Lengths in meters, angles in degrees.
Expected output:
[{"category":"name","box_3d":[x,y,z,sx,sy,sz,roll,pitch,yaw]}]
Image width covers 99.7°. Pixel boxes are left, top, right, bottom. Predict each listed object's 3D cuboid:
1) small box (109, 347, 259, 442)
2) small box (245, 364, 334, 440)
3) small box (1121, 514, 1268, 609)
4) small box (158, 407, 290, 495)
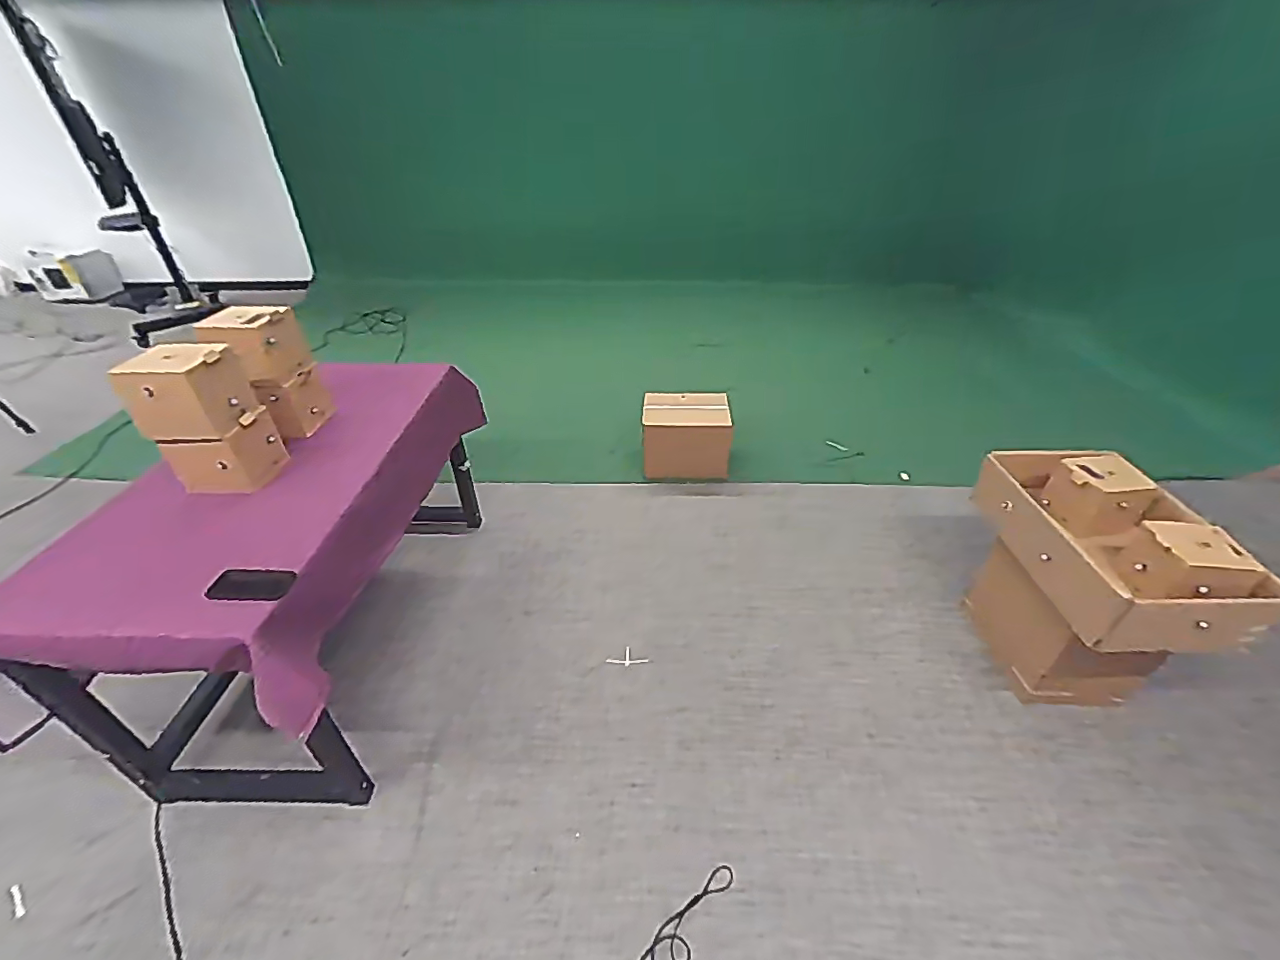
[{"category":"small box","box_3d":[-1.051,-0.200,1.266,0.179,0.176,0.168,-1,36,0]},{"category":"small box","box_3d":[-1.044,-0.229,1.585,0.179,0.176,0.168,0,36,1]},{"category":"small box","box_3d":[1.360,0.204,1.350,0.179,0.176,0.168,2,37,7]},{"category":"small box","box_3d":[-1.038,-0.072,1.371,0.179,0.176,0.168,-1,35,1]}]
